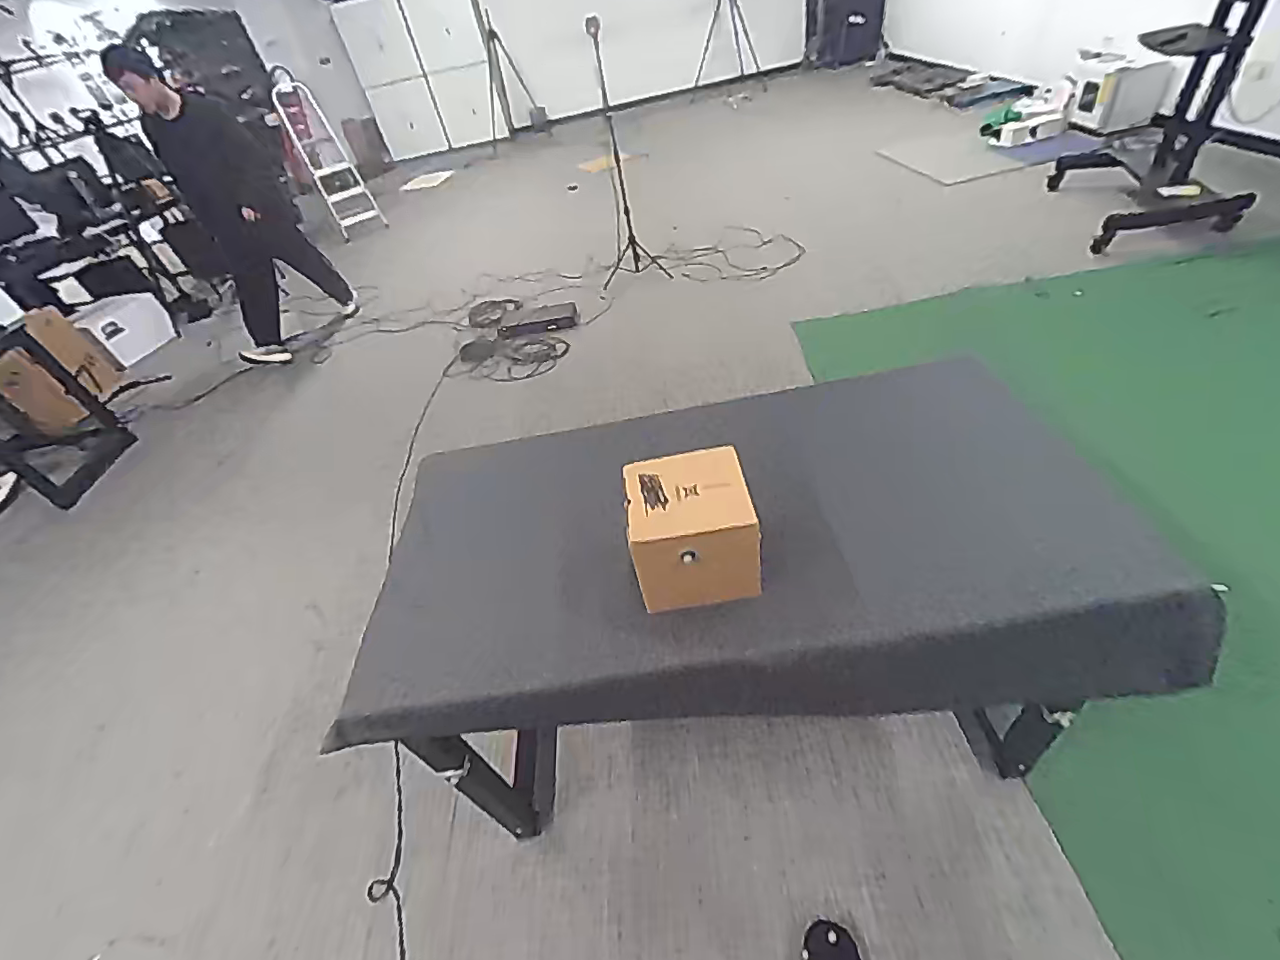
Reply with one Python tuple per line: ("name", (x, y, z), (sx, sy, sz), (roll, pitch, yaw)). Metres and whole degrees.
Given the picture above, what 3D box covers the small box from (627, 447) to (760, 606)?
("small box", (0.083, 0.076, 0.836), (0.179, 0.176, 0.168), (-9, 42, 4))
